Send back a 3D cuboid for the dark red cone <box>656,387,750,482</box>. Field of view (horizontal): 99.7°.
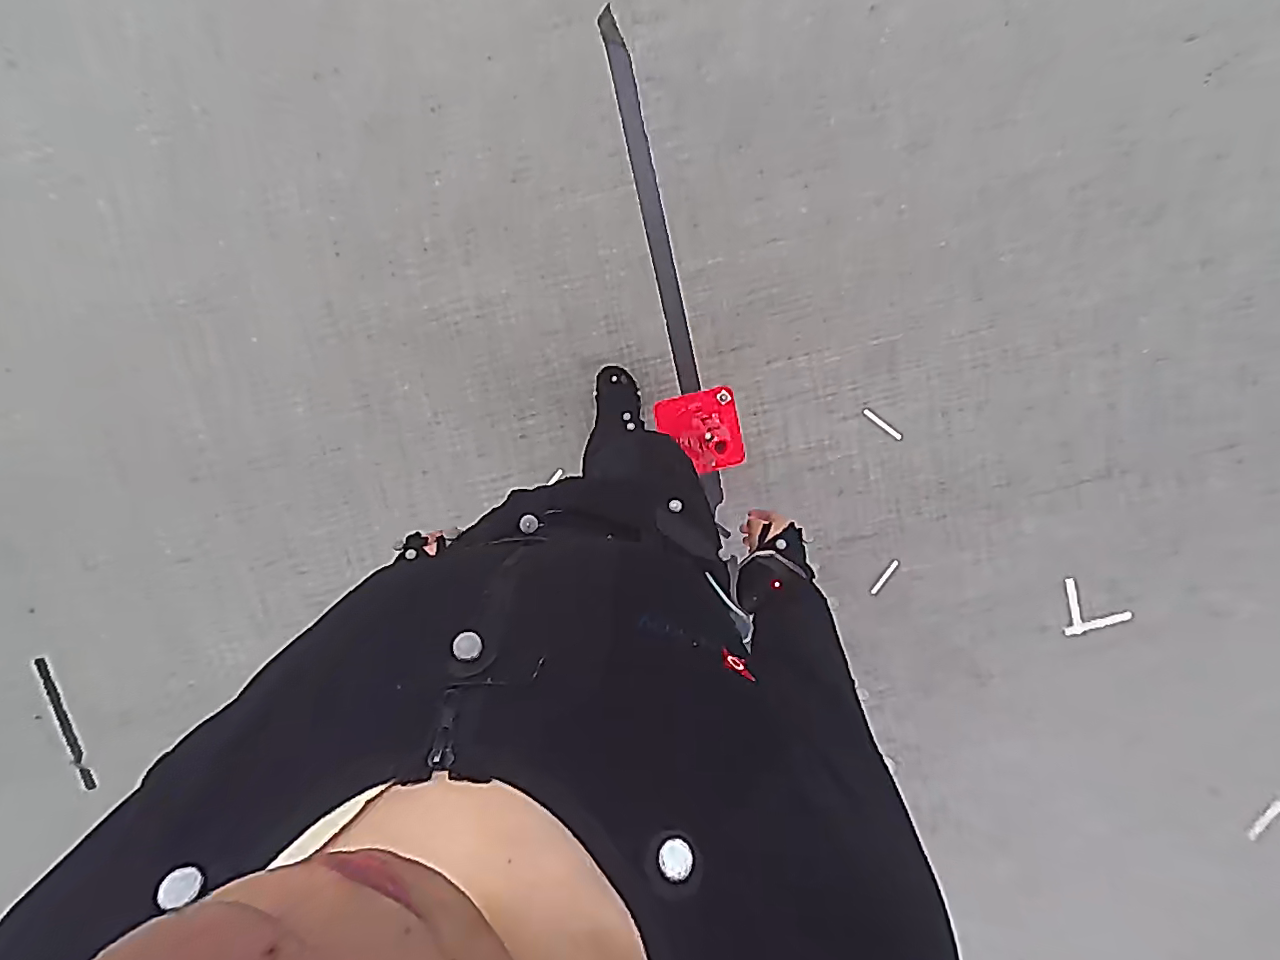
[{"bbox_3d":[0.149,-0.082,1.146,0.201,0.394,0.202,-14,99,3],"label":"dark red cone"}]
